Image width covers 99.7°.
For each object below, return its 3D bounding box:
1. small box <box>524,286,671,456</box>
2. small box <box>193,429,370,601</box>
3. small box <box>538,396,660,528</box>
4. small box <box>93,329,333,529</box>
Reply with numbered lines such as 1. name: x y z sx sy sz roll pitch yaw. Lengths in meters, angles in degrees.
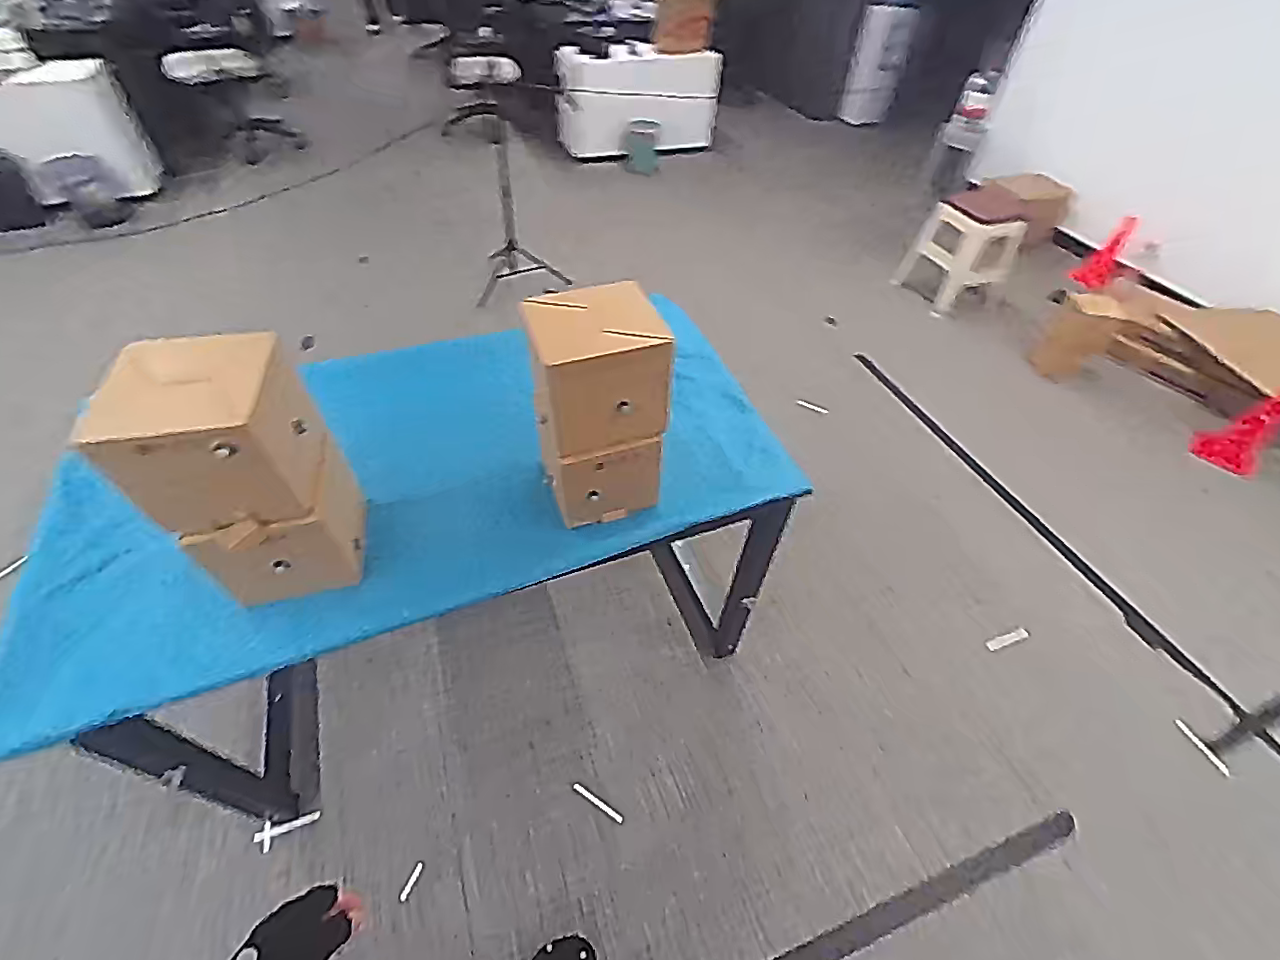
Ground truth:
1. small box: -0.060 -0.166 0.803 0.179 0.176 0.168 -15 50 -13
2. small box: -0.514 0.049 0.801 0.168 0.176 0.179 -10 51 -13
3. small box: -0.071 -0.052 0.920 0.168 0.176 0.179 -15 51 -16
4. small box: -0.516 -0.065 0.681 0.168 0.176 0.179 -7 52 -11
